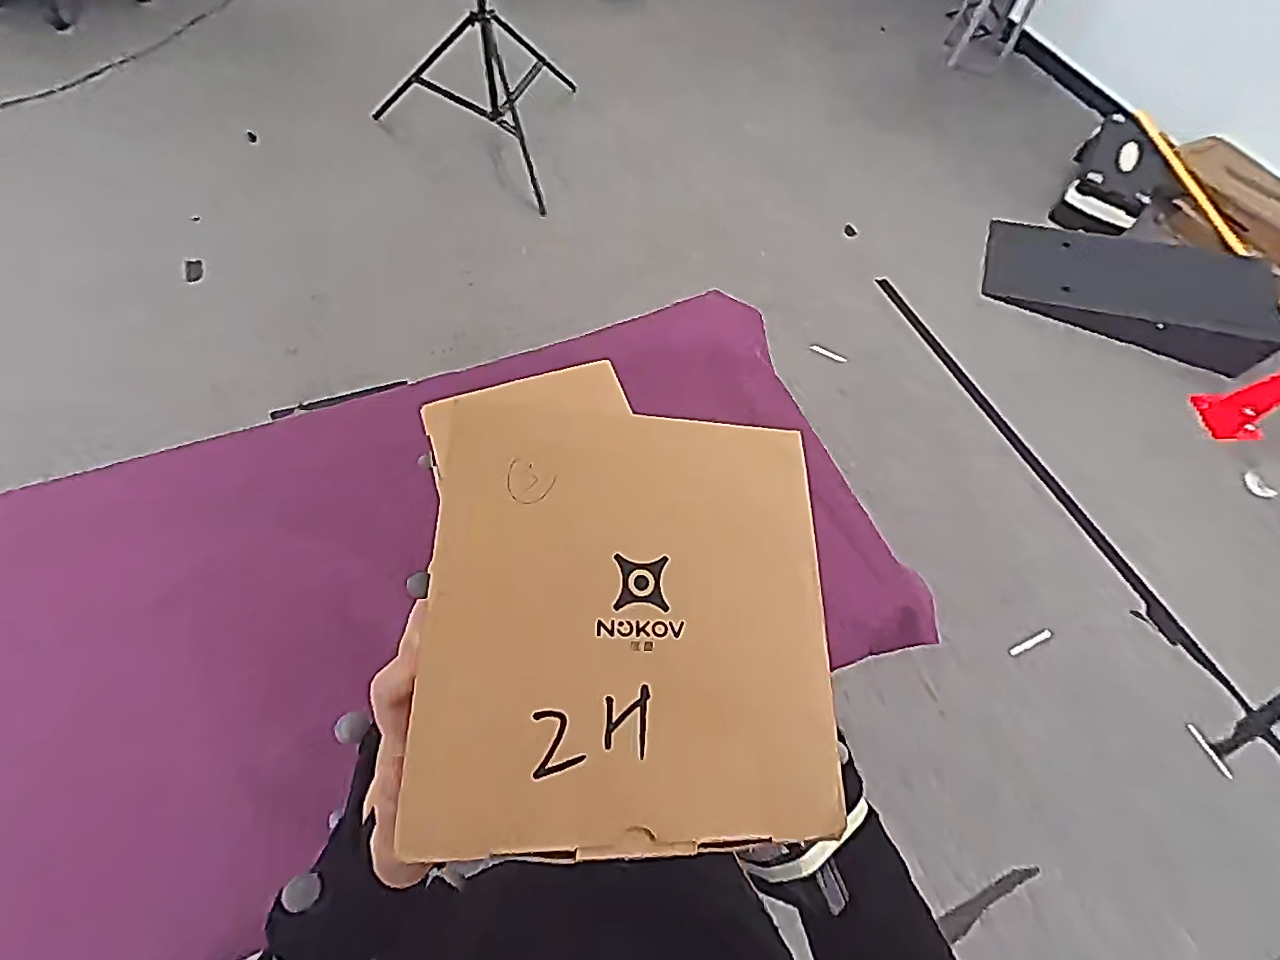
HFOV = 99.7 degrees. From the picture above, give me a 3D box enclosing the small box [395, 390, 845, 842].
[{"bbox_3d":[-0.017,0.075,0.296,0.168,0.176,0.179,4,68,-10],"label":"small box"}]
